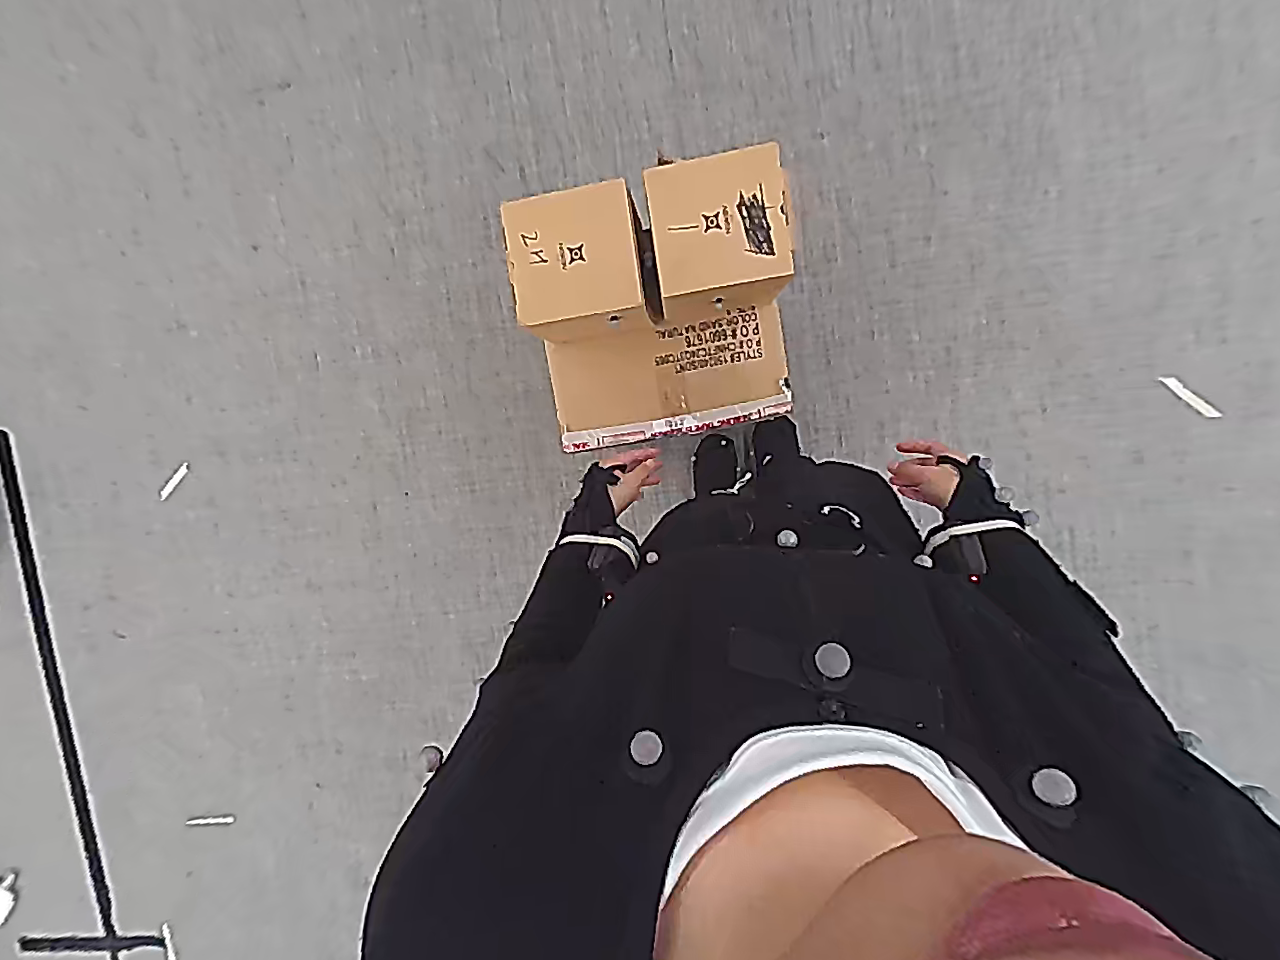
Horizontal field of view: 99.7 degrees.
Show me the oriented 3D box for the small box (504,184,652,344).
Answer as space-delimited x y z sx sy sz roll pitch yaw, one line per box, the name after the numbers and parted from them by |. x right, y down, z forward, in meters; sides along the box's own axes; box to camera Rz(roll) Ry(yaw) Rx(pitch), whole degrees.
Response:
-0.079 -0.307 0.804 0.179 0.176 0.168 -7 95 9 | small box

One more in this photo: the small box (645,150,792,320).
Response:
0.108 -0.339 0.783 0.179 0.176 0.168 -8 95 6 | small box
